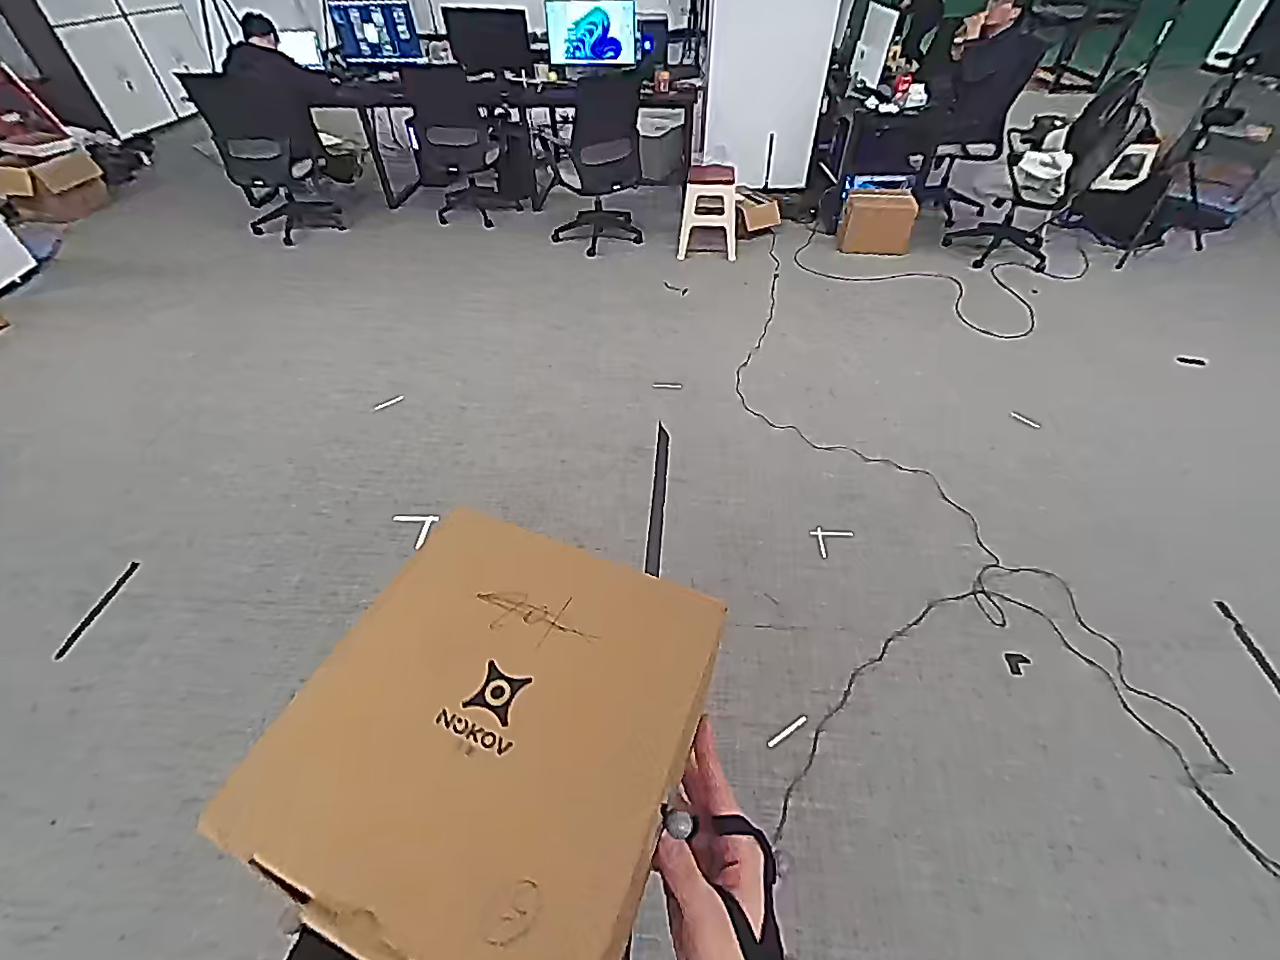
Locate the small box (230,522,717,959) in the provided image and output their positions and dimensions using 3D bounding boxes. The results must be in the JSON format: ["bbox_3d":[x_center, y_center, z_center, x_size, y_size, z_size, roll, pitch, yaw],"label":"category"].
[{"bbox_3d":[-0.064,0.160,0.313,0.168,0.176,0.179,17,49,13],"label":"small box"}]
